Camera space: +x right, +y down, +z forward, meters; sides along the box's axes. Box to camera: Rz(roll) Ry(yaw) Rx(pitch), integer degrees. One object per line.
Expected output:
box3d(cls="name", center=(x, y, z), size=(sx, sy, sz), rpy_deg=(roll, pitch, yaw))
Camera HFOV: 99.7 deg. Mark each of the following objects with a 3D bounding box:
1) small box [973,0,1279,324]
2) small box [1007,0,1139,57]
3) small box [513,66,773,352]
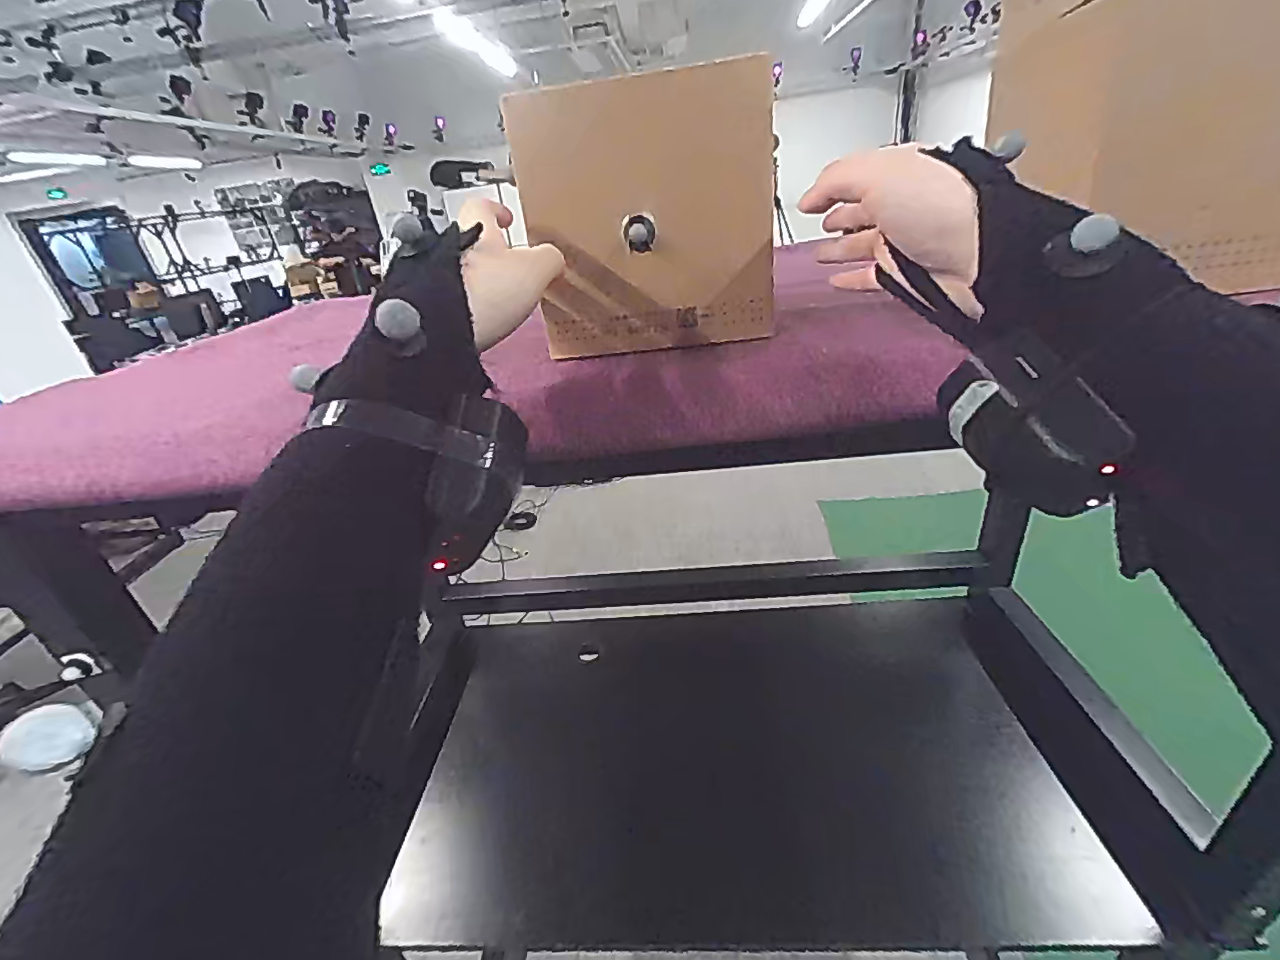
box3d(cls="small box", center=(0.358, -0.213, 0.368), size=(0.179, 0.176, 0.168), rpy_deg=(-4, 25, 11))
box3d(cls="small box", center=(0.334, -0.361, 0.304), size=(0.179, 0.176, 0.168), rpy_deg=(-2, 26, 14))
box3d(cls="small box", center=(0.015, -0.205, 0.439), size=(0.168, 0.176, 0.179), rpy_deg=(-4, 28, 6))
